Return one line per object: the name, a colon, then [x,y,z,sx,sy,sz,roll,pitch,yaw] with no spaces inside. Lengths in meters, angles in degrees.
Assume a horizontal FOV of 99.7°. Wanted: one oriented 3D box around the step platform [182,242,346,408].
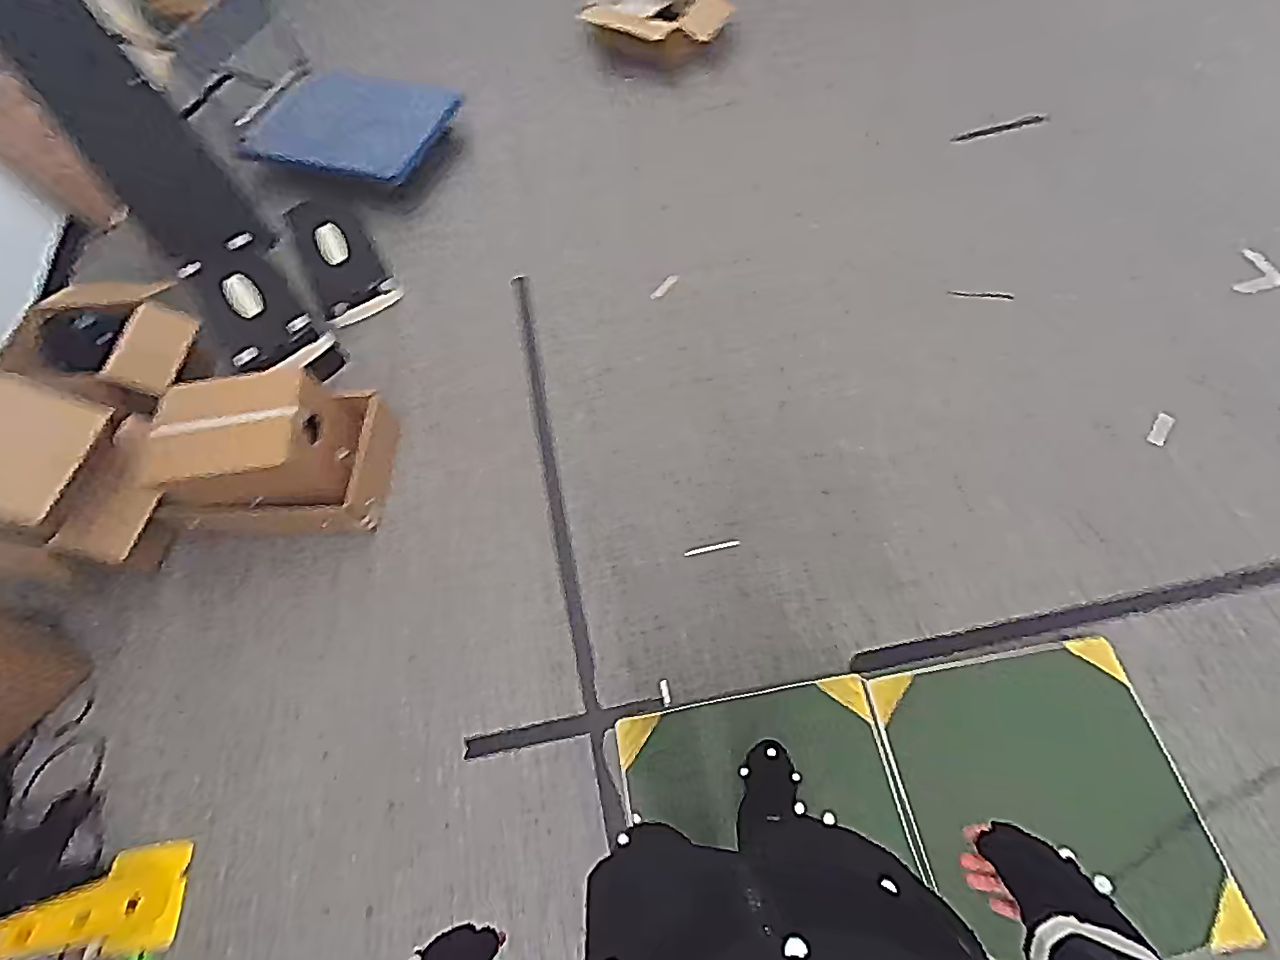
step platform: [-1.377,-0.581,1.971,0.286,0.204,0.684,-40,68,-13]
